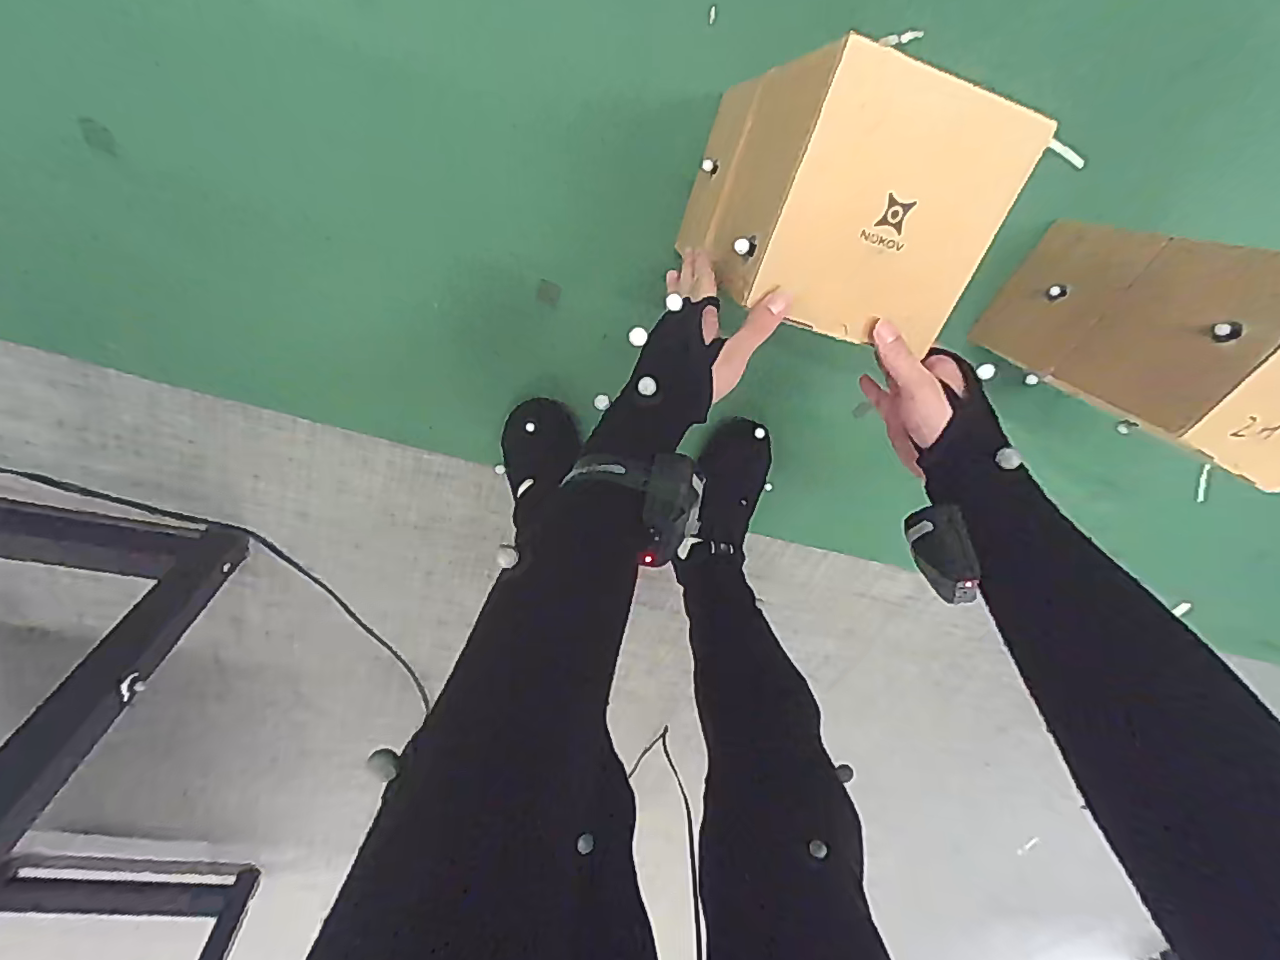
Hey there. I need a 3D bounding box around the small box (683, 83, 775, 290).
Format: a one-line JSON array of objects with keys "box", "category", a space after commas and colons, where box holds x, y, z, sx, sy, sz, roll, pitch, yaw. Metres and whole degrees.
[{"box": [0.155, -0.301, 0.601, 0.168, 0.176, 0.179, 13, 118, -13], "category": "small box"}]

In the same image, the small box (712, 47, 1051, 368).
[{"box": [0.174, -0.222, 0.460, 0.168, 0.176, 0.179, 12, 120, -13], "category": "small box"}]

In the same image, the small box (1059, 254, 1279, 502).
[{"box": [0.608, -0.113, 0.567, 0.168, 0.176, 0.179, 21, 117, -17], "category": "small box"}]
